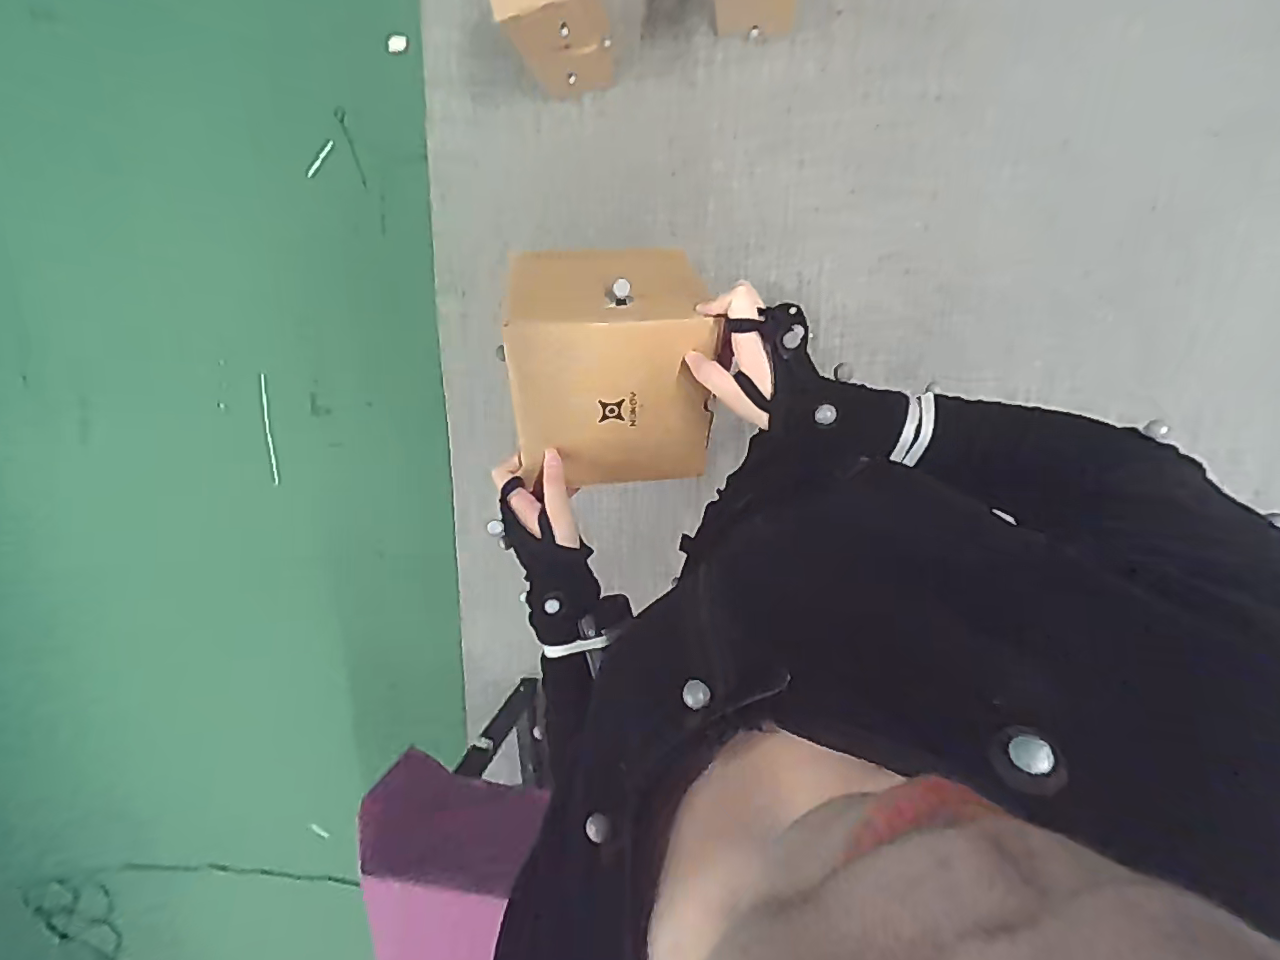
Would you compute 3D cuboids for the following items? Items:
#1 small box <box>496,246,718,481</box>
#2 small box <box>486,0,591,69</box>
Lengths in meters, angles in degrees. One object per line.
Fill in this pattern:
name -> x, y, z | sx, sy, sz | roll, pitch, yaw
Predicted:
small box -> -0.038, -0.119, 0.529 | 0.179, 0.176, 0.168 | -4, 131, -8
small box -> -0.210, -0.994, 1.115 | 0.168, 0.176, 0.179 | -7, 99, 14
